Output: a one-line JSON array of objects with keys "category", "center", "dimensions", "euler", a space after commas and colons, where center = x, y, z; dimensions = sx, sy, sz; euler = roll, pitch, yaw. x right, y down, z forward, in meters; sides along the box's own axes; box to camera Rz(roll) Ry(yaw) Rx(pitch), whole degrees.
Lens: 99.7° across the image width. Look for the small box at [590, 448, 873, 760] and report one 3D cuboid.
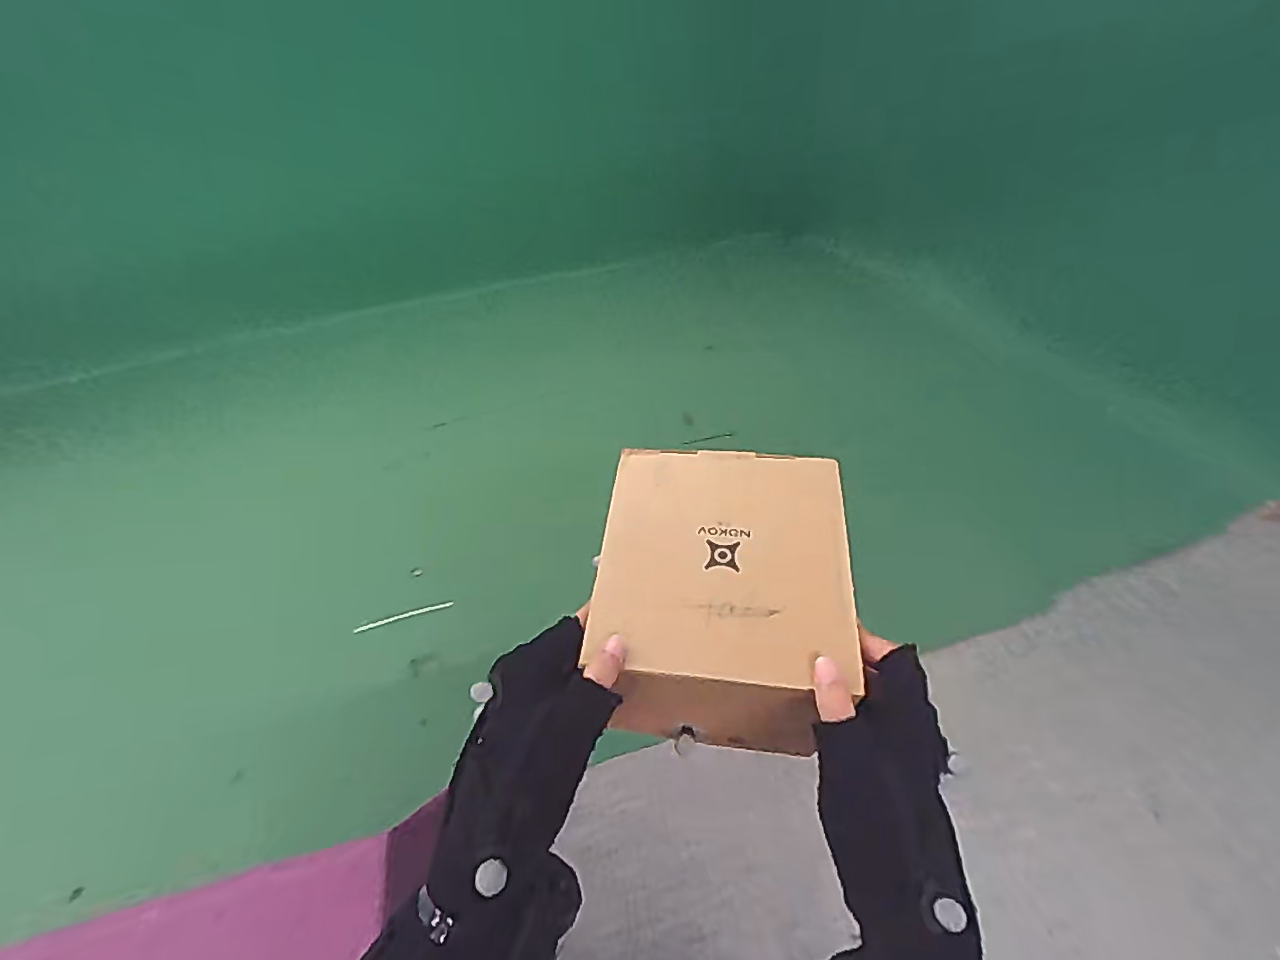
[{"category": "small box", "center": [0.067, 0.098, 0.423], "dimensions": [0.168, 0.176, 0.179], "euler": [4, 53, 8]}]
